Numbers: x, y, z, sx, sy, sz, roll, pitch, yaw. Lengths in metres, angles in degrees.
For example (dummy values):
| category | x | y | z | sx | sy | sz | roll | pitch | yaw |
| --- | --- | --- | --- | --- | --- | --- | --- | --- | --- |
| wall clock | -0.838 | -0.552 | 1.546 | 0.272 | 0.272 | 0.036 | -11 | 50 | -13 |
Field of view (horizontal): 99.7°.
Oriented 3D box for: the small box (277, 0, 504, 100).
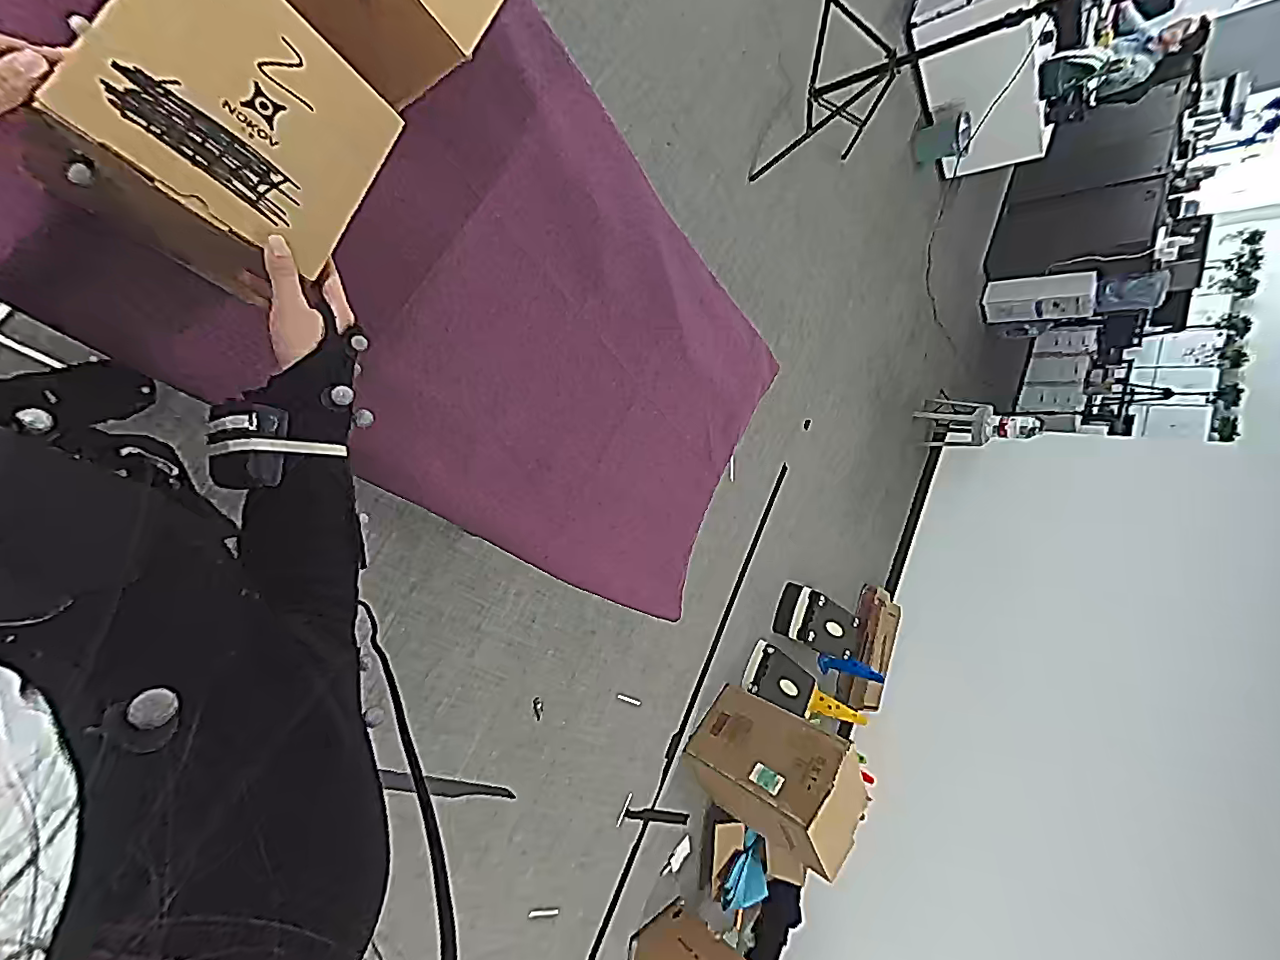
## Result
| category | x | y | z | sx | sy | sz | roll | pitch | yaw |
| --- | --- | --- | --- | --- | --- | --- | --- | --- | --- |
| small box | -0.247 | -0.516 | 0.528 | 0.179 | 0.176 | 0.168 | 36 | 72 | -44 |
